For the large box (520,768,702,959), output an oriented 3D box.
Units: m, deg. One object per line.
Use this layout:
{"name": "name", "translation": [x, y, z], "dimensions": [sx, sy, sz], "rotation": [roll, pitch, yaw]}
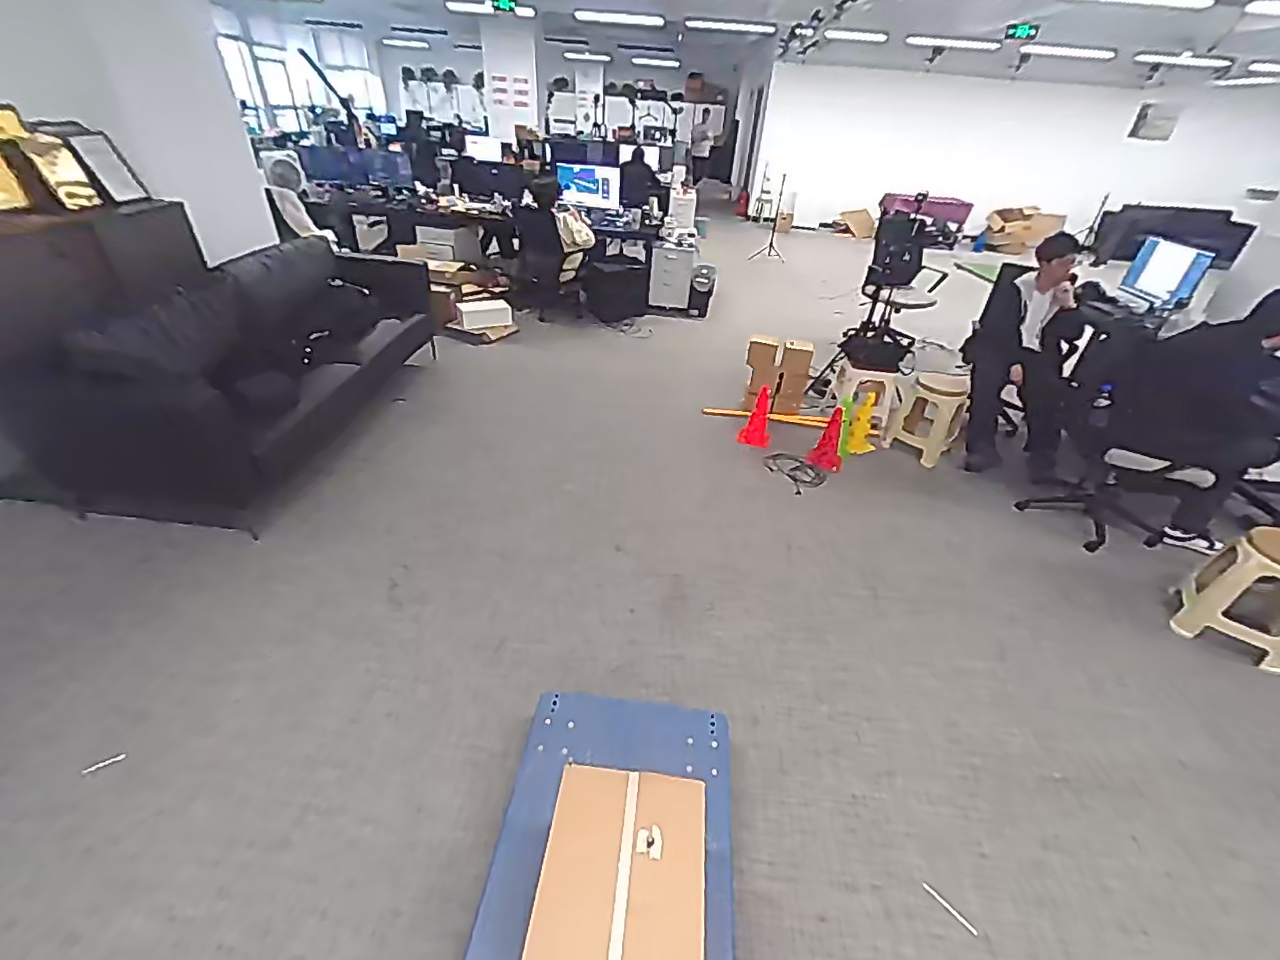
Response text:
{"name": "large box", "translation": [-0.048, 0.883, 1.105], "dimensions": [0.320, 0.320, 0.408], "rotation": [6, 33, 2]}
